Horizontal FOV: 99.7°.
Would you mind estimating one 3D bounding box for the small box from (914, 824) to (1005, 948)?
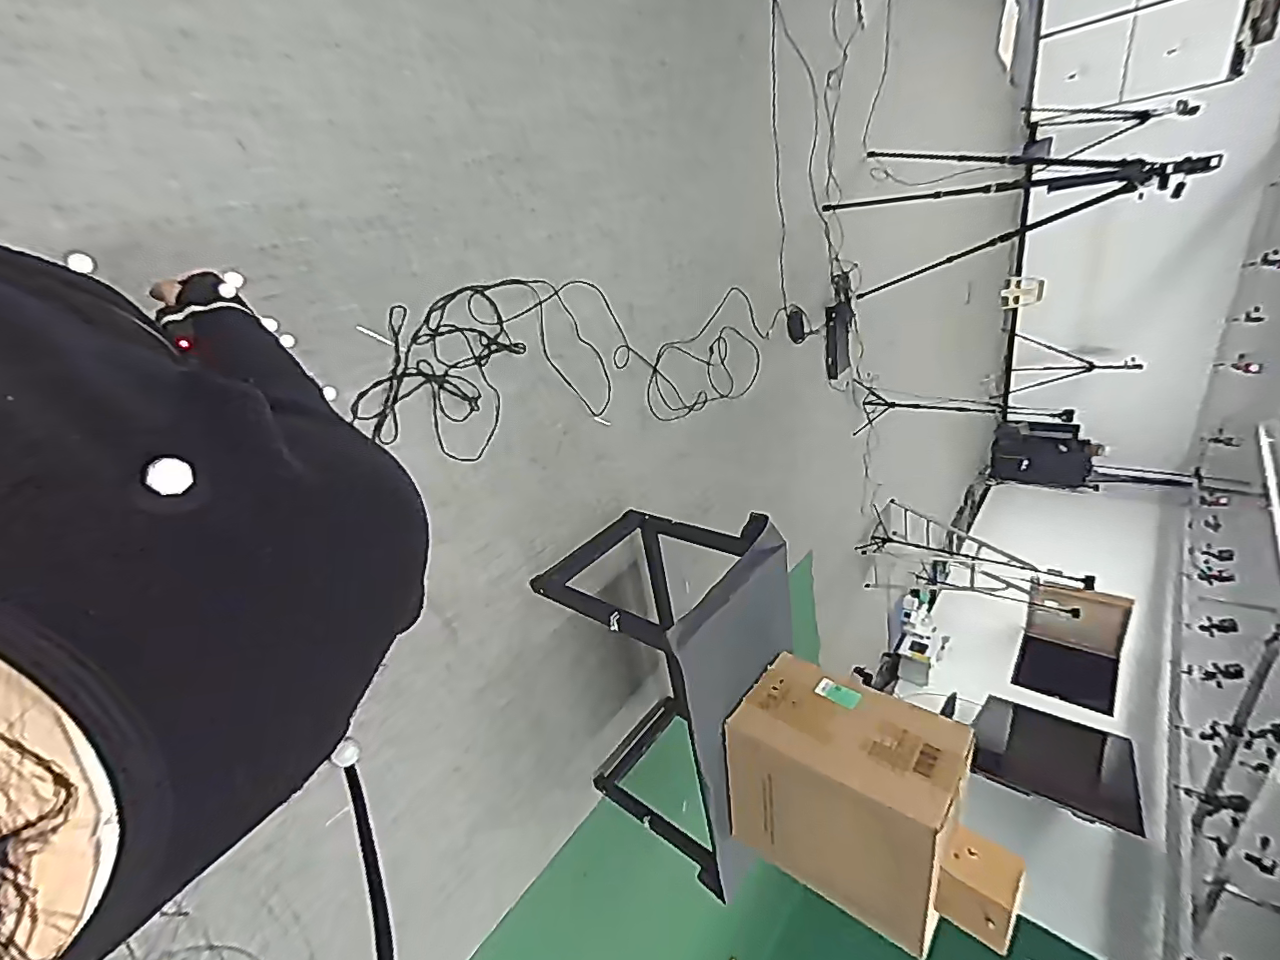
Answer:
[{"bbox_3d":[0.865,1.093,1.472,0.168,0.176,0.179,-24,117,-42],"label":"small box"}]
